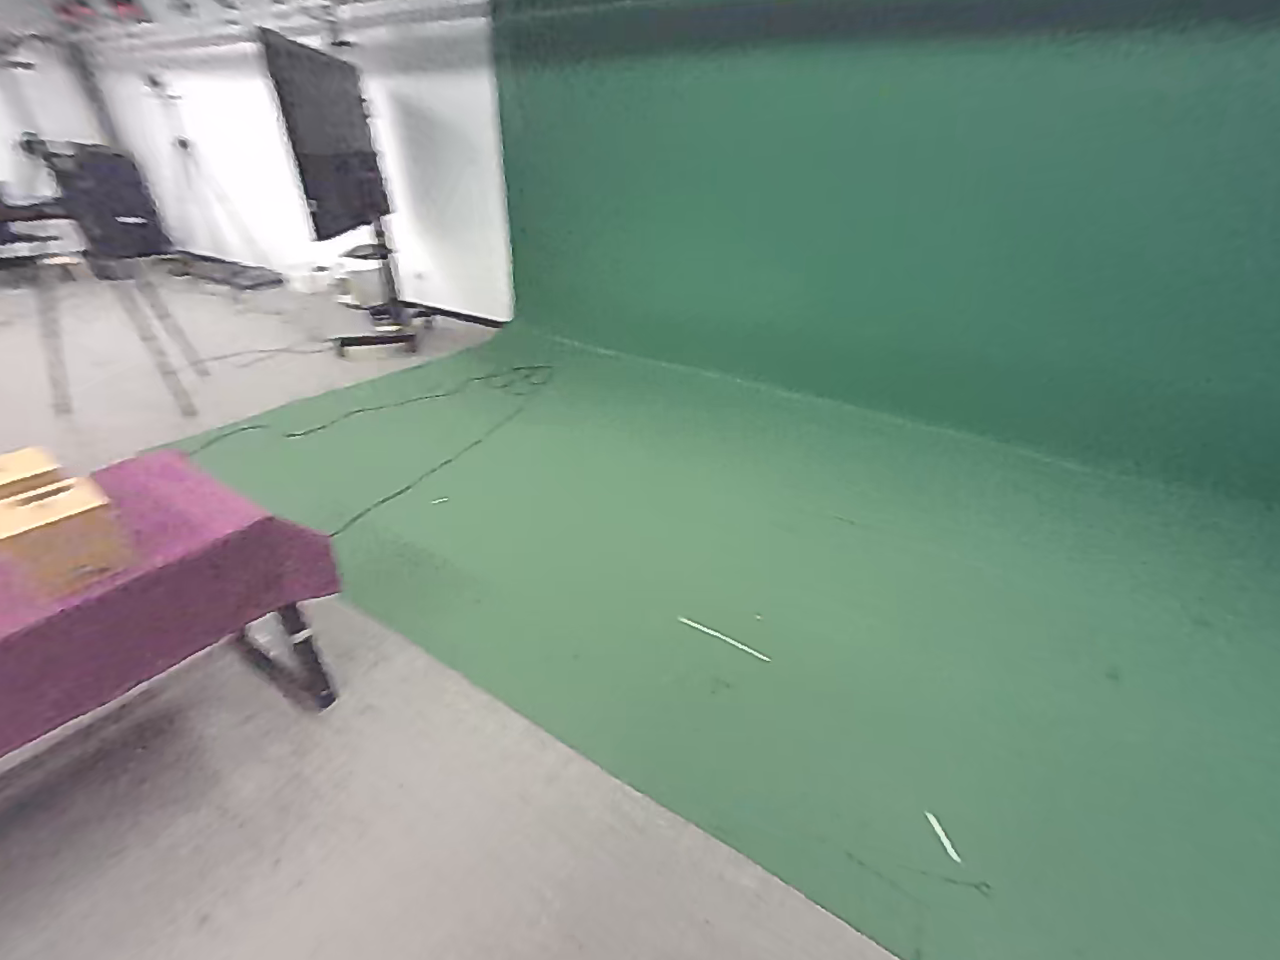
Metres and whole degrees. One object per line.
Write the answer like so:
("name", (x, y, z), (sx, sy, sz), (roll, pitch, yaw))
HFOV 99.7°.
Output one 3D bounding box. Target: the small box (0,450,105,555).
("small box", (-1.436, 0.055, 1.287), (0.179, 0.176, 0.168), (21, 37, 31))
